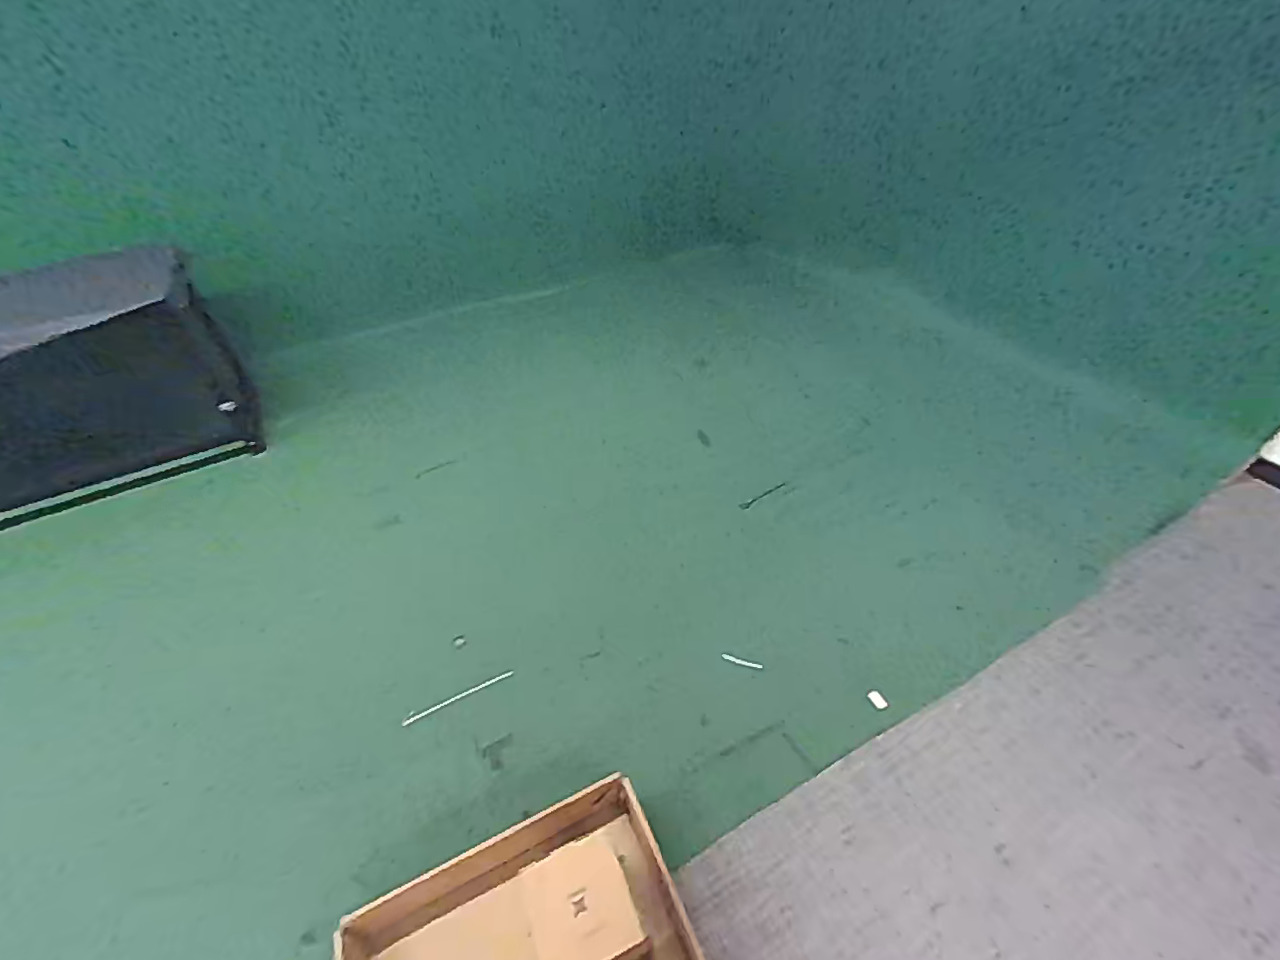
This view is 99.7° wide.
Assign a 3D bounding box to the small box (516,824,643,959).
[{"bbox_3d":[-0.103,0.748,0.944,0.168,0.176,0.179,-19,47,-15],"label":"small box"}]
